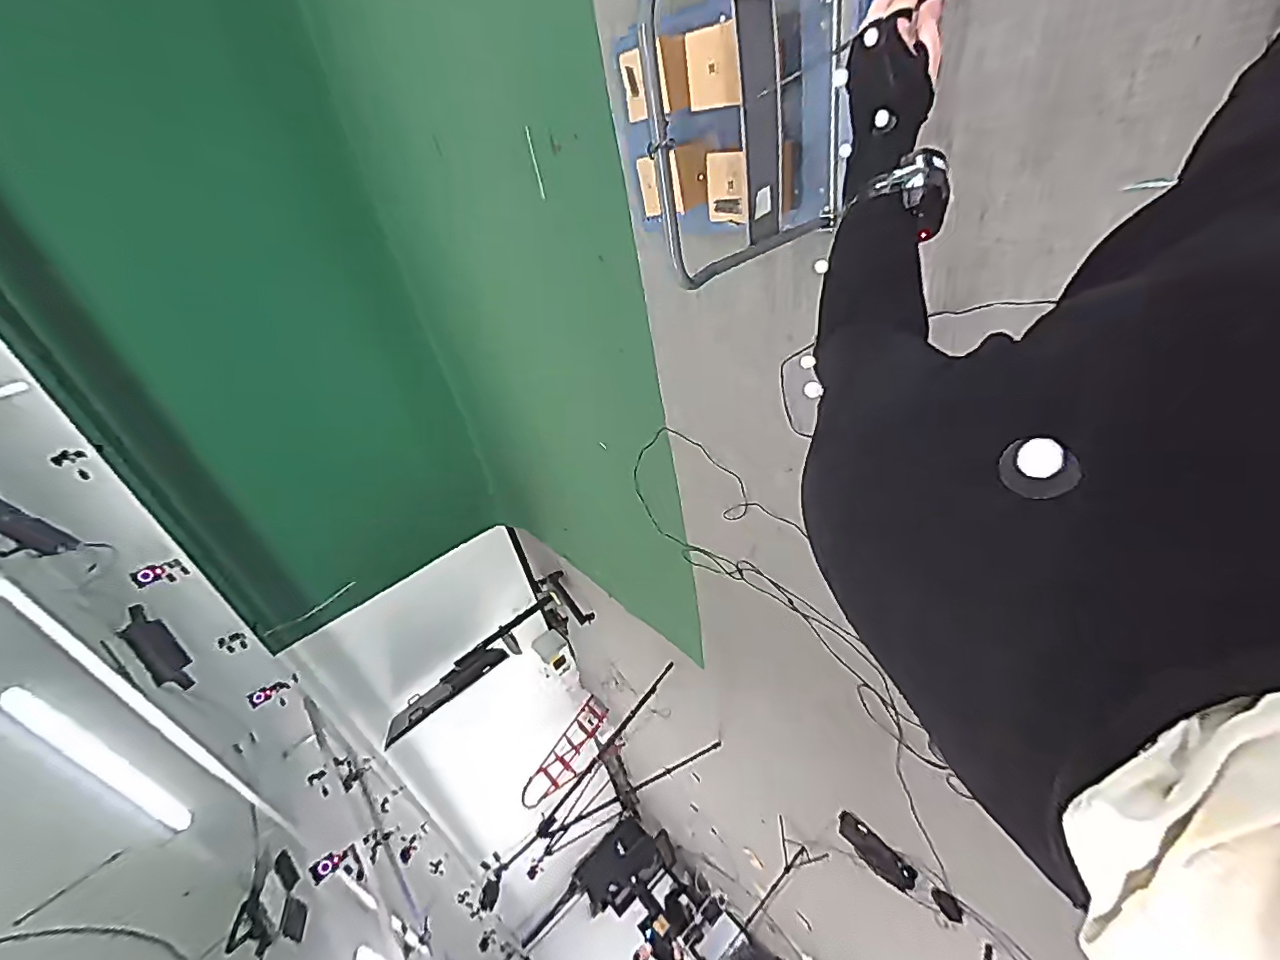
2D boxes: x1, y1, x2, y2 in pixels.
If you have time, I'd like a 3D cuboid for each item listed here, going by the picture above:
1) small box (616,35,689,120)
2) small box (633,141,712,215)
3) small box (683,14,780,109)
[{"bbox_3d":[0.062,-1.152,1.551,0.179,0.176,0.168,23,138,43],"label":"small box"},{"bbox_3d":[0.111,-0.942,1.688,0.179,0.176,0.168,22,135,45],"label":"small box"},{"bbox_3d":[0.235,-1.065,1.382,0.179,0.176,0.168,26,139,41],"label":"small box"}]
